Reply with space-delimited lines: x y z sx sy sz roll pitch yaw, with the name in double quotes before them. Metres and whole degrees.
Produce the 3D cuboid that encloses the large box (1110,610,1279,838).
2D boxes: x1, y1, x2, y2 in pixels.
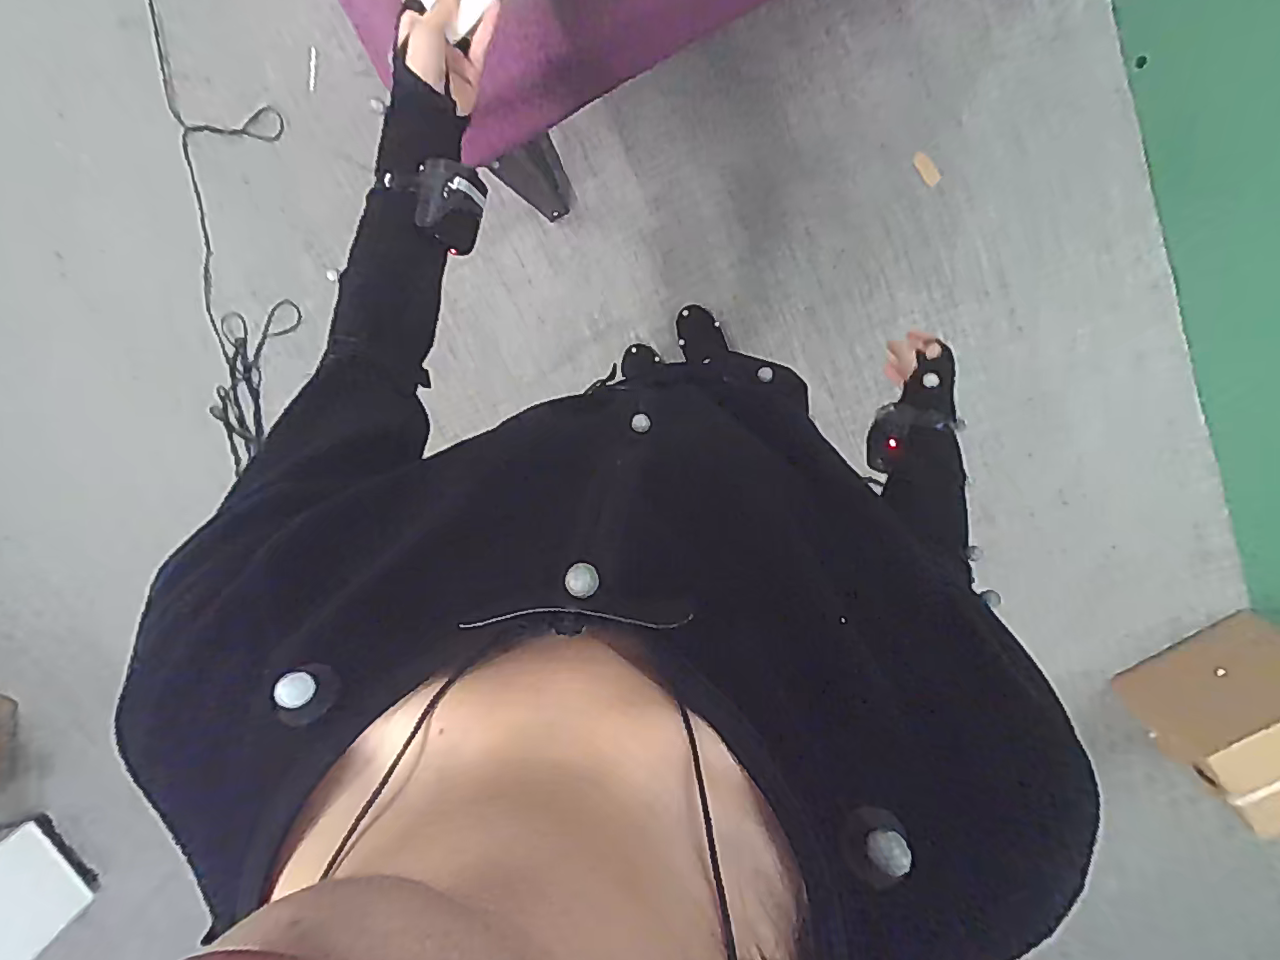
"large box" 1.614 0.628 1.432 0.408 0.320 0.320 -38 100 12
